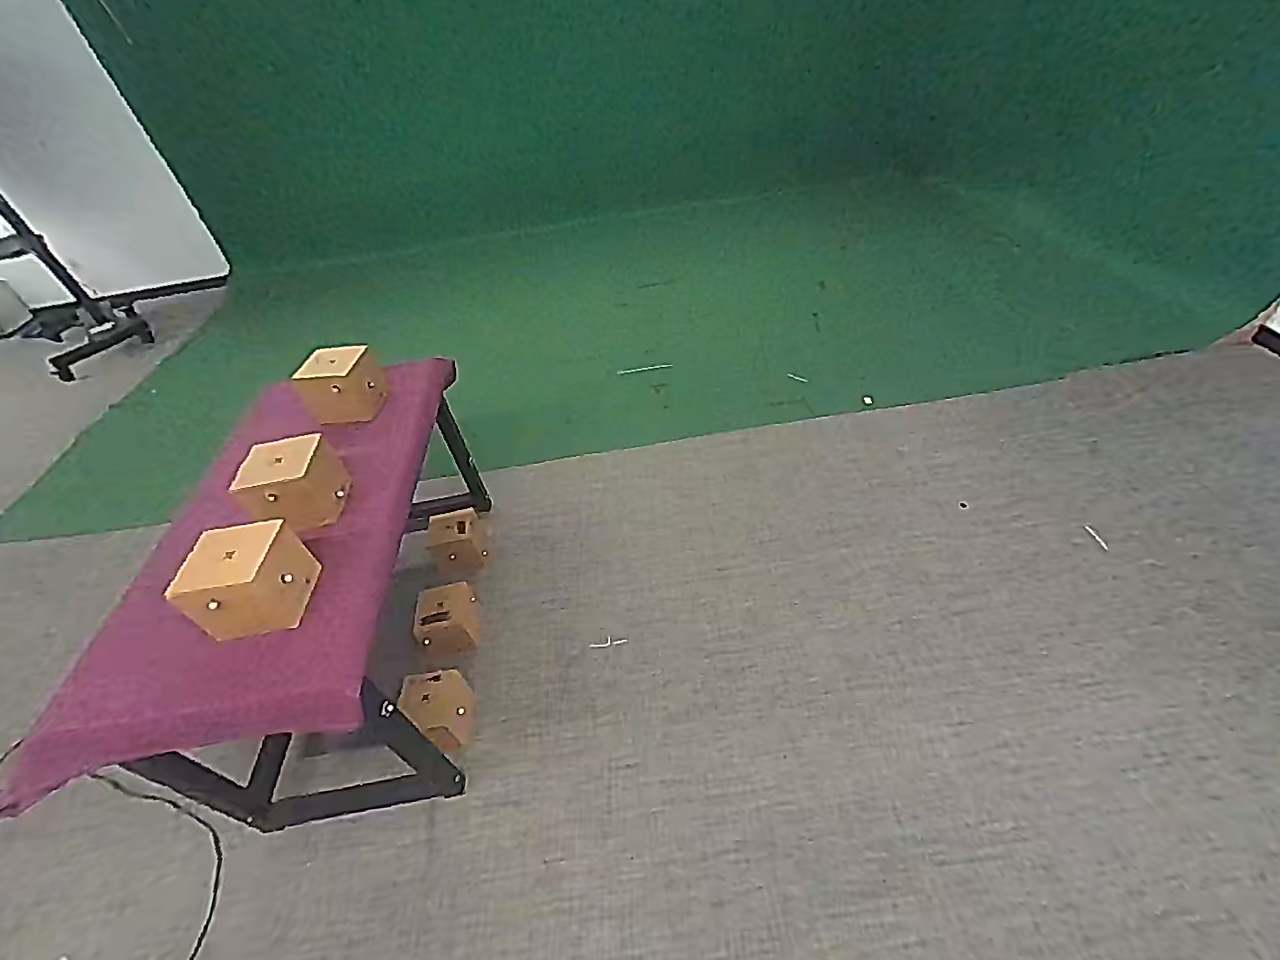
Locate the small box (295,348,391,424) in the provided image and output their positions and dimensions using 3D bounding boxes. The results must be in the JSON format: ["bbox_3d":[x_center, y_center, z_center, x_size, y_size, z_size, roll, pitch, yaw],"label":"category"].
[{"bbox_3d":[-0.909,-0.289,1.677,0.179,0.176,0.168,-3,44,8],"label":"small box"}]

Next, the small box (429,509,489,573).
[{"bbox_3d":[-0.711,0.244,2.142,0.179,0.176,0.168,-13,43,-1],"label":"small box"}]

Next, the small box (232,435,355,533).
[{"bbox_3d":[-0.856,0.015,1.355,0.179,0.176,0.168,-10,44,-1],"label":"small box"}]

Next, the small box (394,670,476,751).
[{"bbox_3d":[-0.613,0.707,1.644,0.168,0.176,0.179,-8,44,2],"label":"small box"}]

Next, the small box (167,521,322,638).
[{"bbox_3d":[-0.816,0.212,1.142,0.179,0.176,0.168,-10,43,1],"label":"small box"}]
